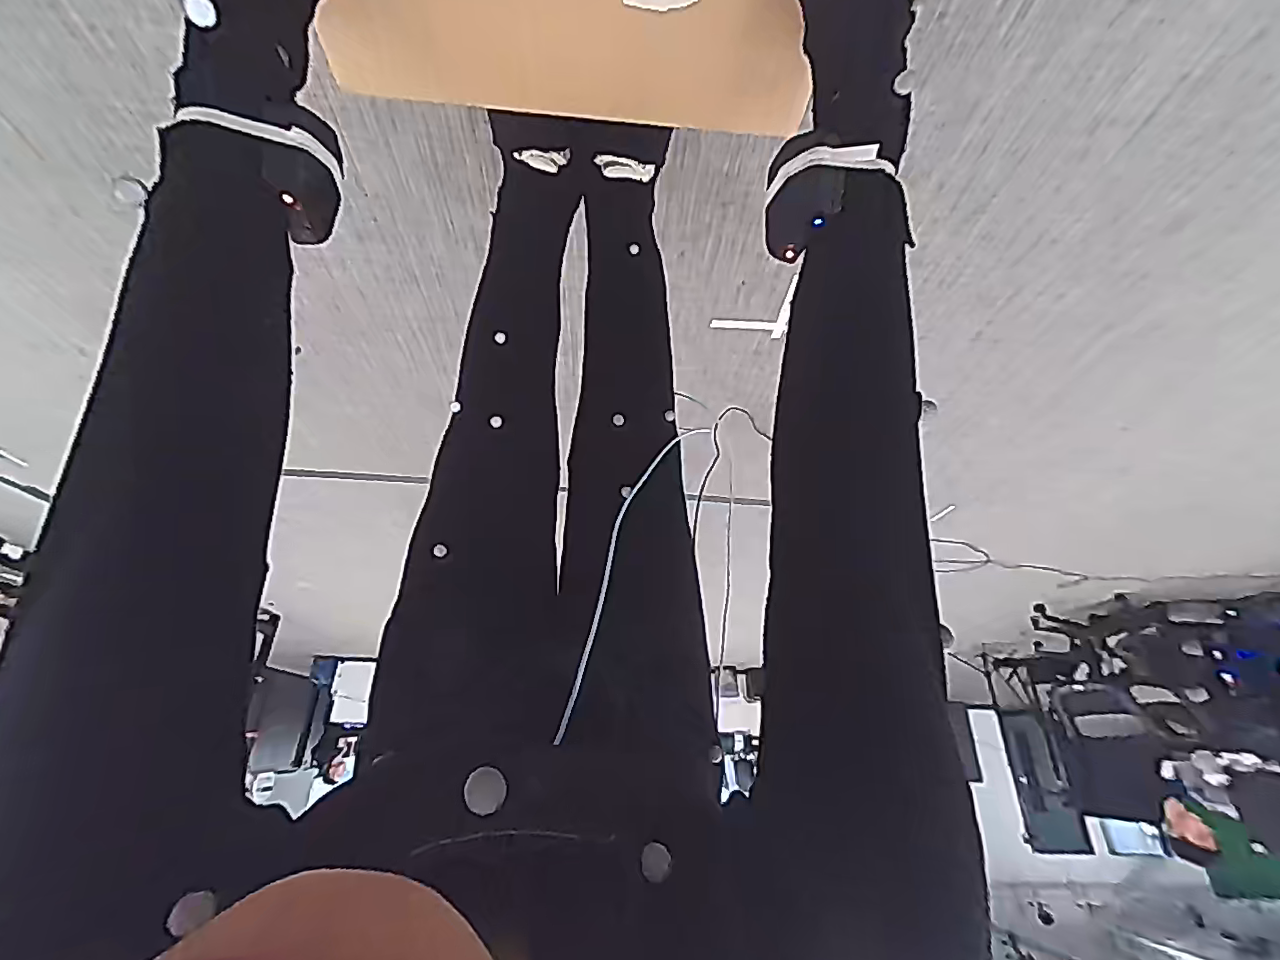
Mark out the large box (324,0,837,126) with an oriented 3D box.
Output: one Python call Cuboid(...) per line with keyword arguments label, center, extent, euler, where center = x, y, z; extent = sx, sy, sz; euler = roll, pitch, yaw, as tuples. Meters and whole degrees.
Cuboid(label="large box", center=(-0.041, -0.535, 0.420), extent=(0.408, 0.320, 0.320), euler=(3, 155, -4))
